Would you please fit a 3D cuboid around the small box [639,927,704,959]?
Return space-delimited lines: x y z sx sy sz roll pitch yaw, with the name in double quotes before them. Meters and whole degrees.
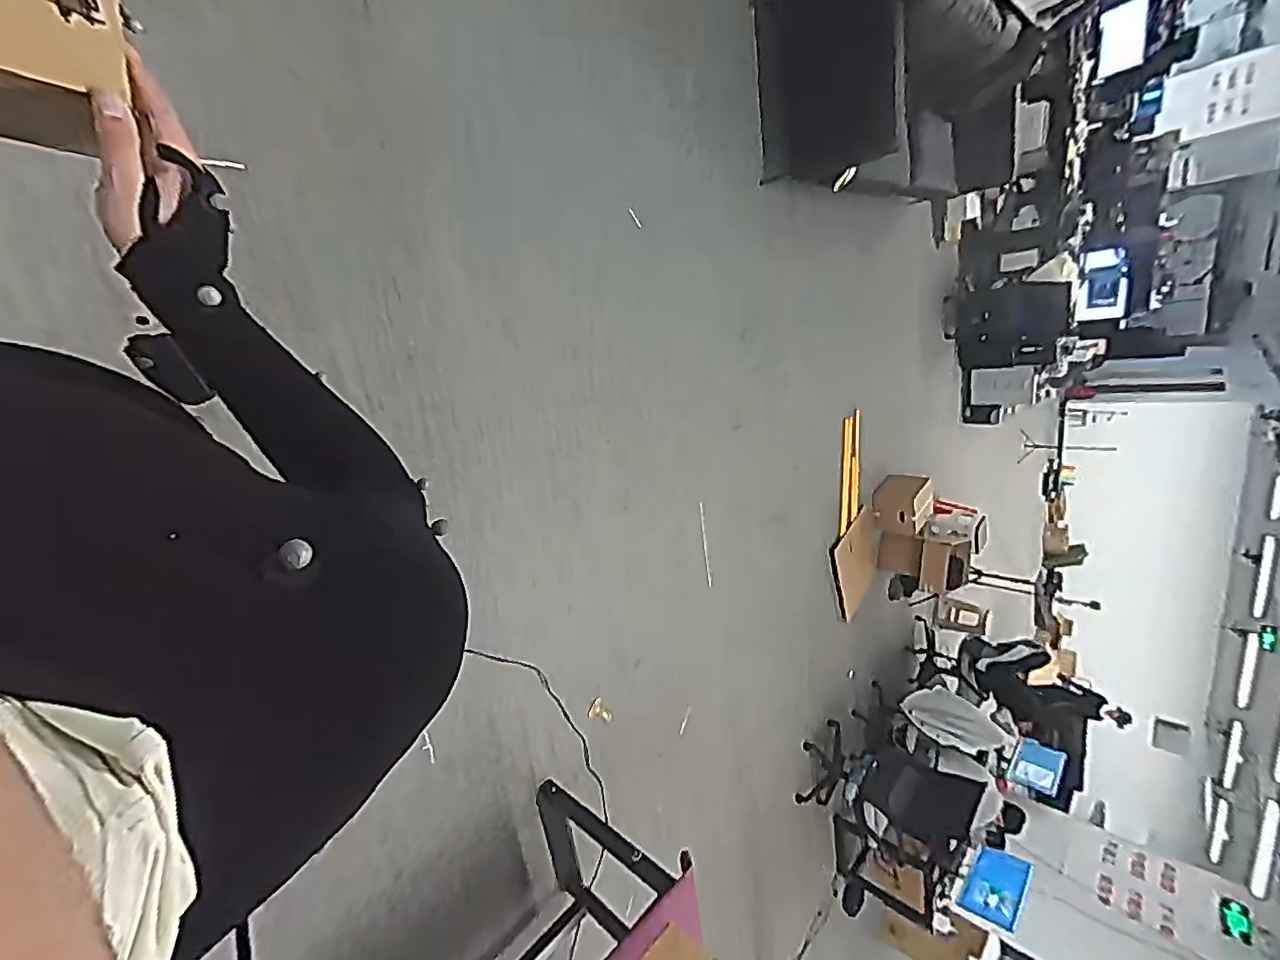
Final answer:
"small box" 0.092 1.425 1.516 0.179 0.176 0.168 -21 112 -41

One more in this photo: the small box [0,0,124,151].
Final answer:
"small box" -0.475 -0.350 0.362 0.179 0.176 0.168 -8 104 -43
